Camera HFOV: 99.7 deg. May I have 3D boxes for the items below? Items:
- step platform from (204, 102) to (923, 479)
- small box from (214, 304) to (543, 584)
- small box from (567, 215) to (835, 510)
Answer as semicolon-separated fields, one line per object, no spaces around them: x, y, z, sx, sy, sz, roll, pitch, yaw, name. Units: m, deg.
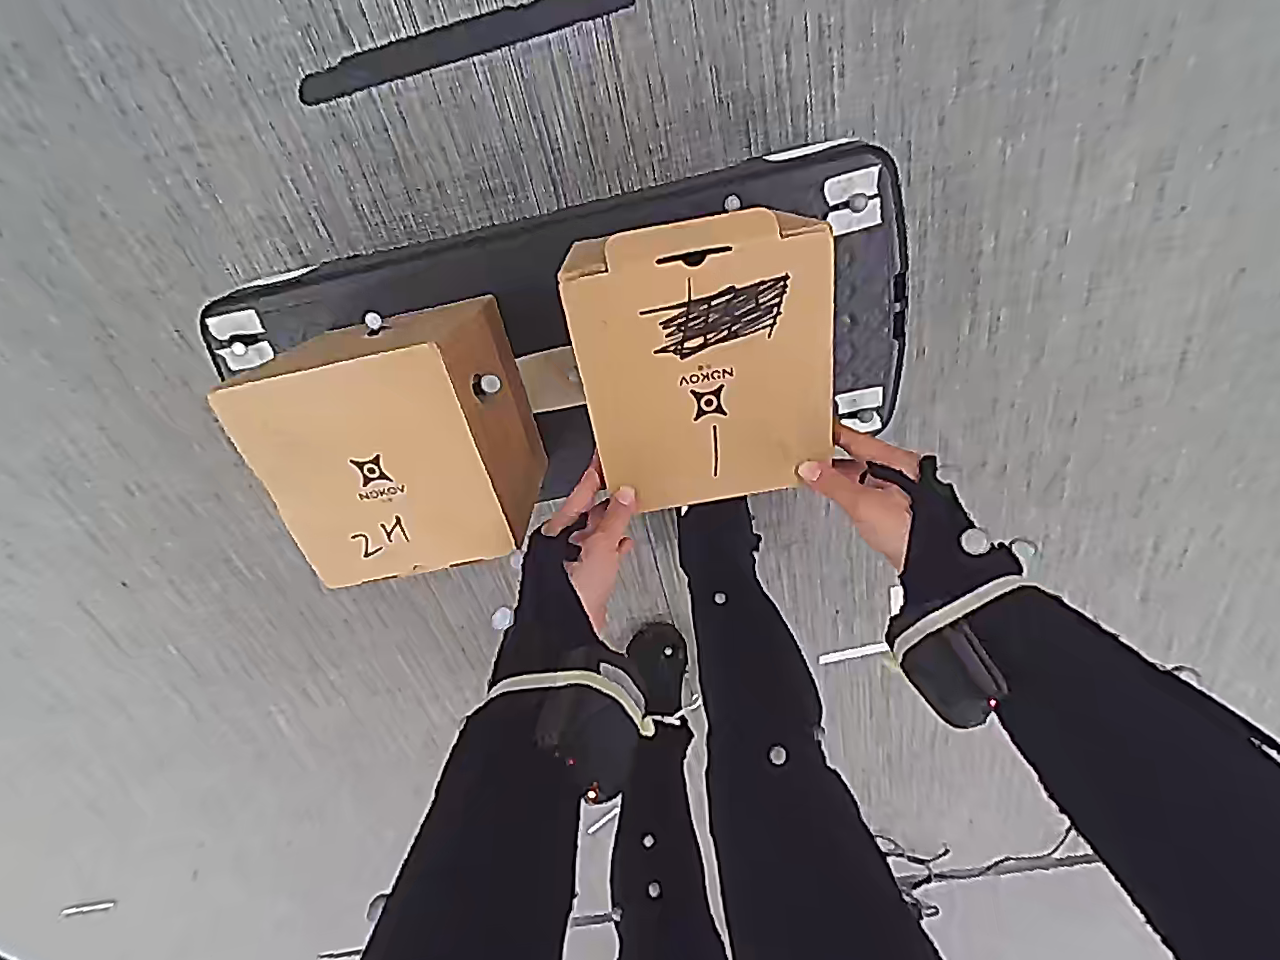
-0.067;-0.169;0.594;0.684;0.204;0.286;-11;118;6;step platform
-0.191;-0.042;0.462;0.168;0.176;0.179;-10;118;5;small box
0.043;-0.103;0.429;0.168;0.176;0.179;-9;120;3;small box
